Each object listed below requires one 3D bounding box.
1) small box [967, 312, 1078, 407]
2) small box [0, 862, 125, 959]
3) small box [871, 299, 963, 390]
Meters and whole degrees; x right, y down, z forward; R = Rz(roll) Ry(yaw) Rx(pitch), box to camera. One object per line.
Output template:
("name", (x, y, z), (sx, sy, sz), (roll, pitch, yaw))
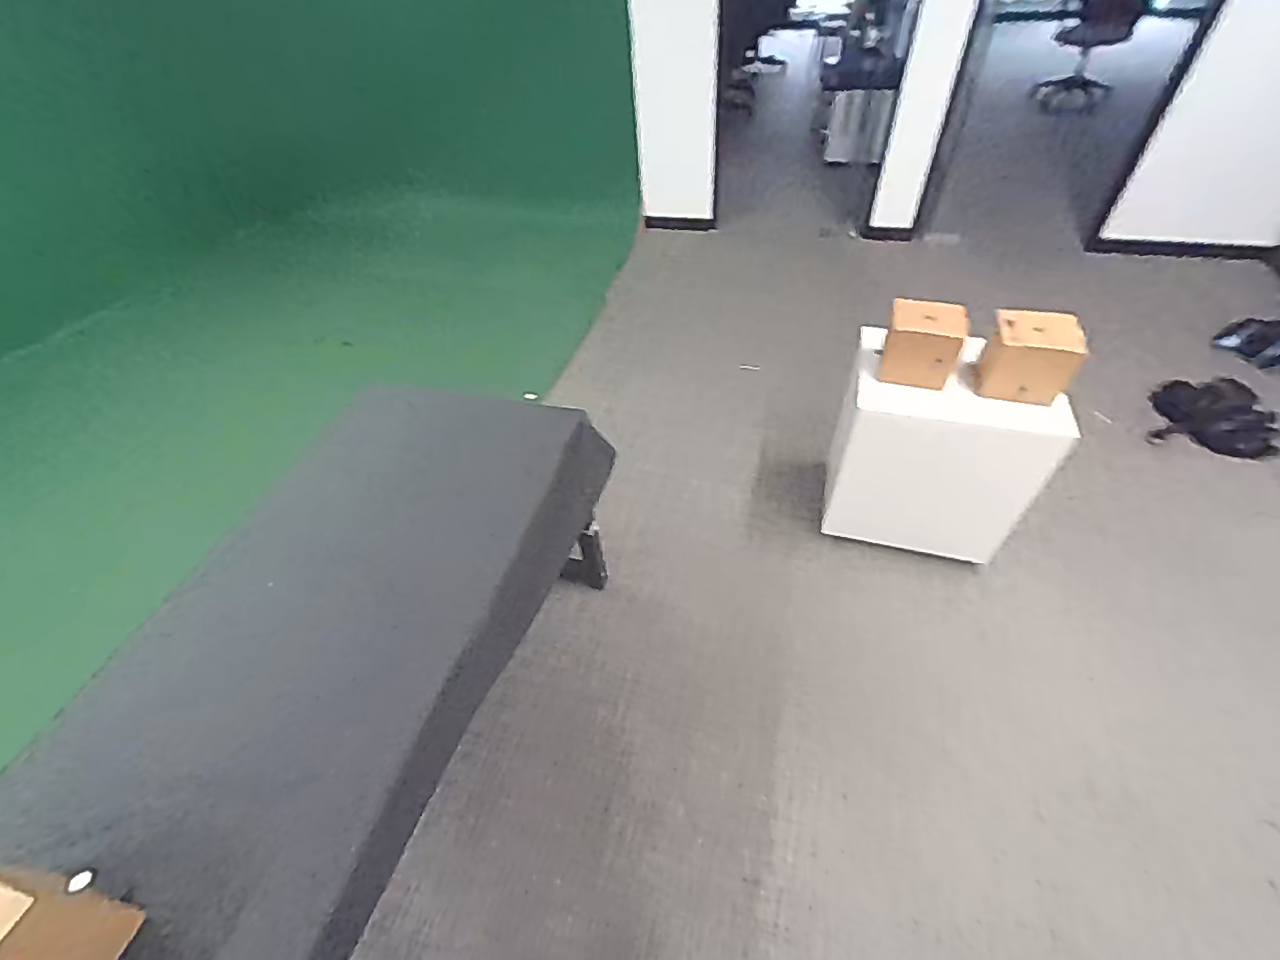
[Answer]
("small box", (0.980, -0.309, 1.403), (0.179, 0.176, 0.168), (13, 50, 14))
("small box", (-0.731, 0.530, 0.574), (0.168, 0.176, 0.179), (10, 49, 12))
("small box", (0.746, -0.365, 1.467), (0.179, 0.176, 0.168), (12, 49, 14))
